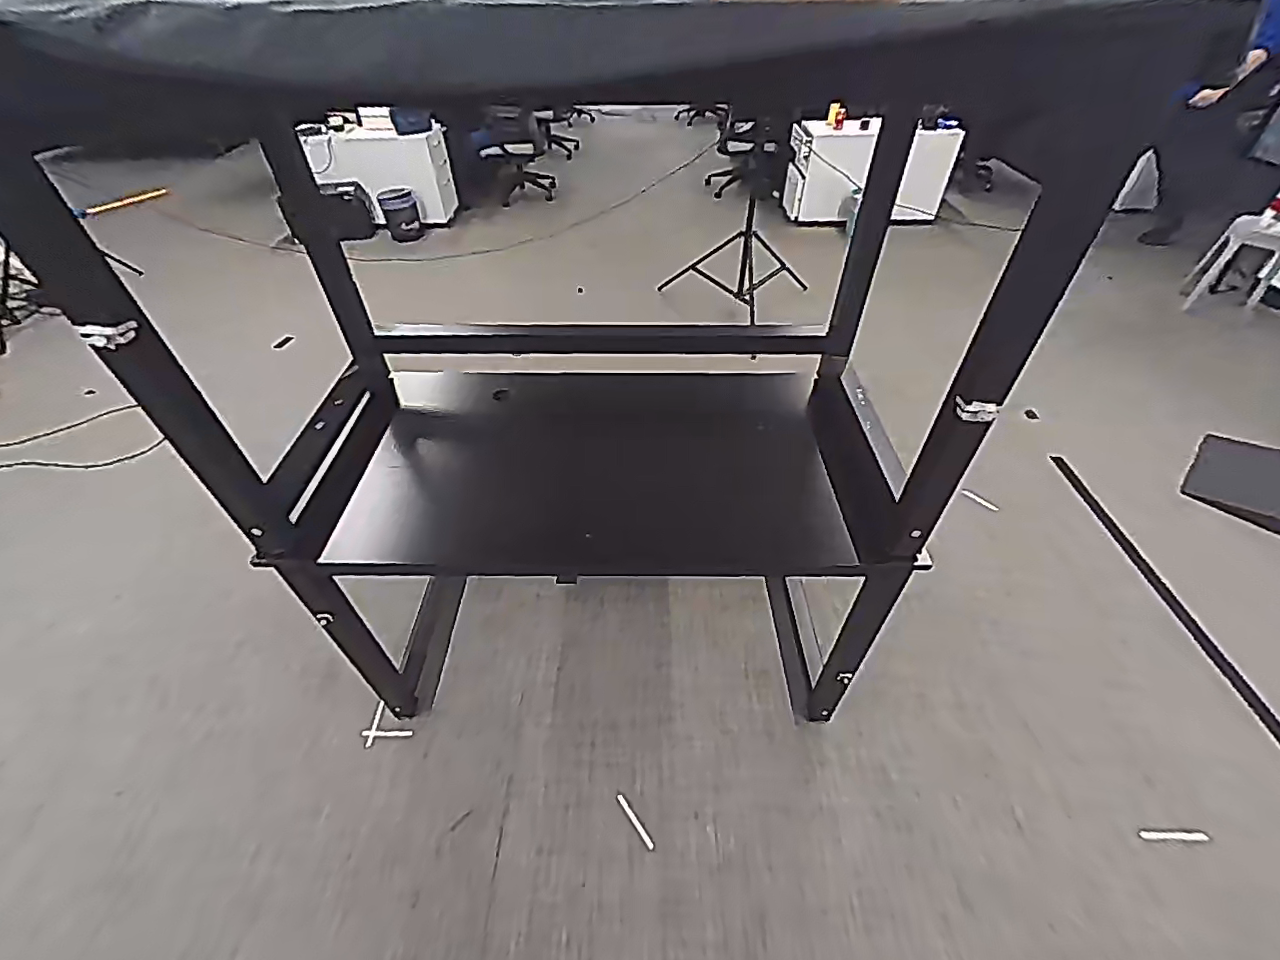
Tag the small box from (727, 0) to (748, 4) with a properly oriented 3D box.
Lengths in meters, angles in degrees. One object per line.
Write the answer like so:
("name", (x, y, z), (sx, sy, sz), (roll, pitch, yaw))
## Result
("small box", (0.150, -0.540, 0.480), (0.168, 0.176, 0.179), (3, 42, 4))
